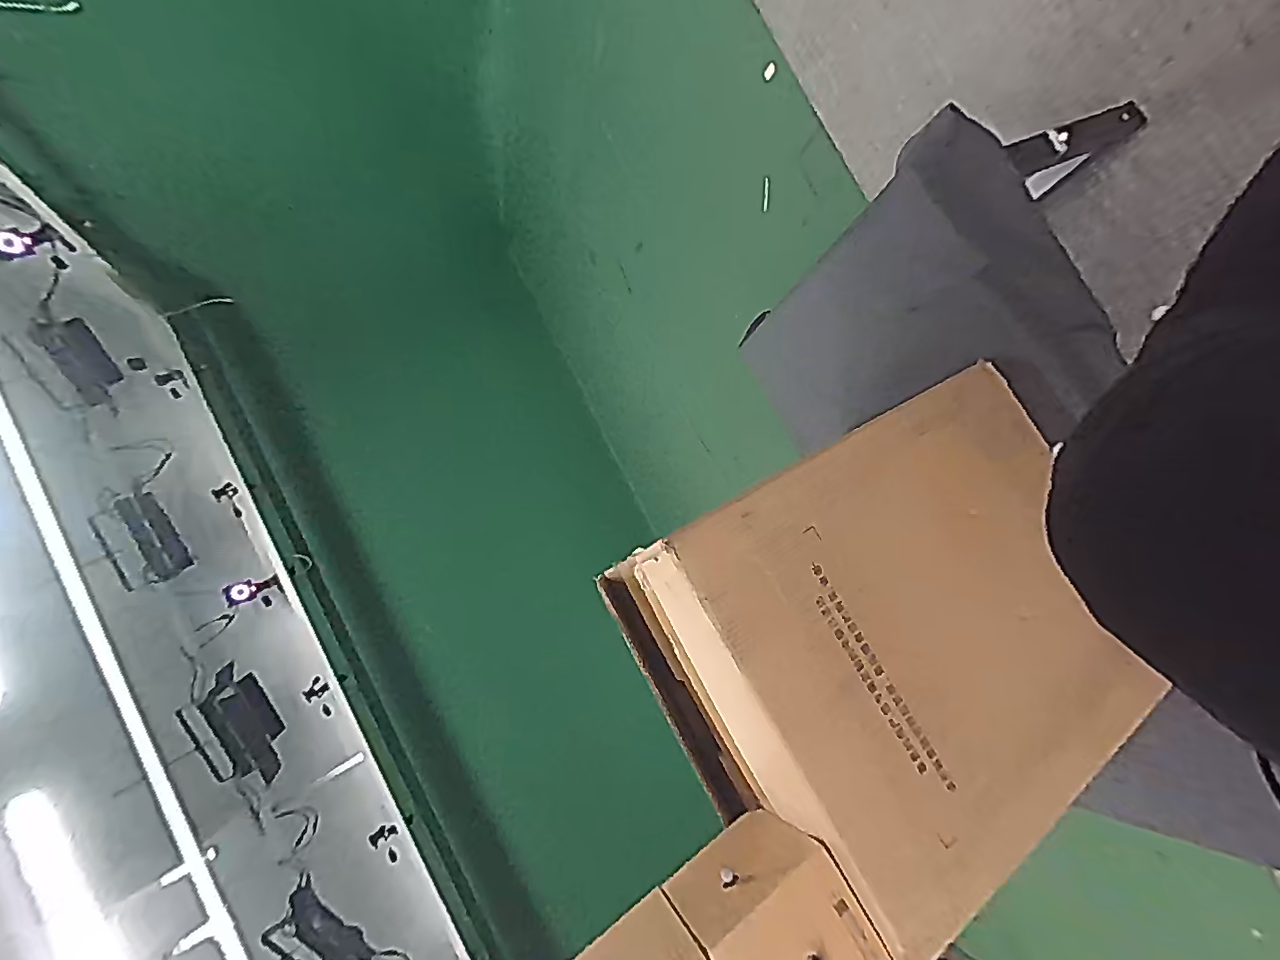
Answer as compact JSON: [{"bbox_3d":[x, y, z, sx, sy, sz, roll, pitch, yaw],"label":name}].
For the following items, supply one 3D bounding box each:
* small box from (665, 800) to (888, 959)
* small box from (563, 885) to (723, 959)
[{"bbox_3d":[0.161,0.523,0.647,0.168,0.176,0.179,59,159,8],"label":"small box"},{"bbox_3d":[0.025,0.595,0.589,0.168,0.176,0.179,58,158,7],"label":"small box"}]
